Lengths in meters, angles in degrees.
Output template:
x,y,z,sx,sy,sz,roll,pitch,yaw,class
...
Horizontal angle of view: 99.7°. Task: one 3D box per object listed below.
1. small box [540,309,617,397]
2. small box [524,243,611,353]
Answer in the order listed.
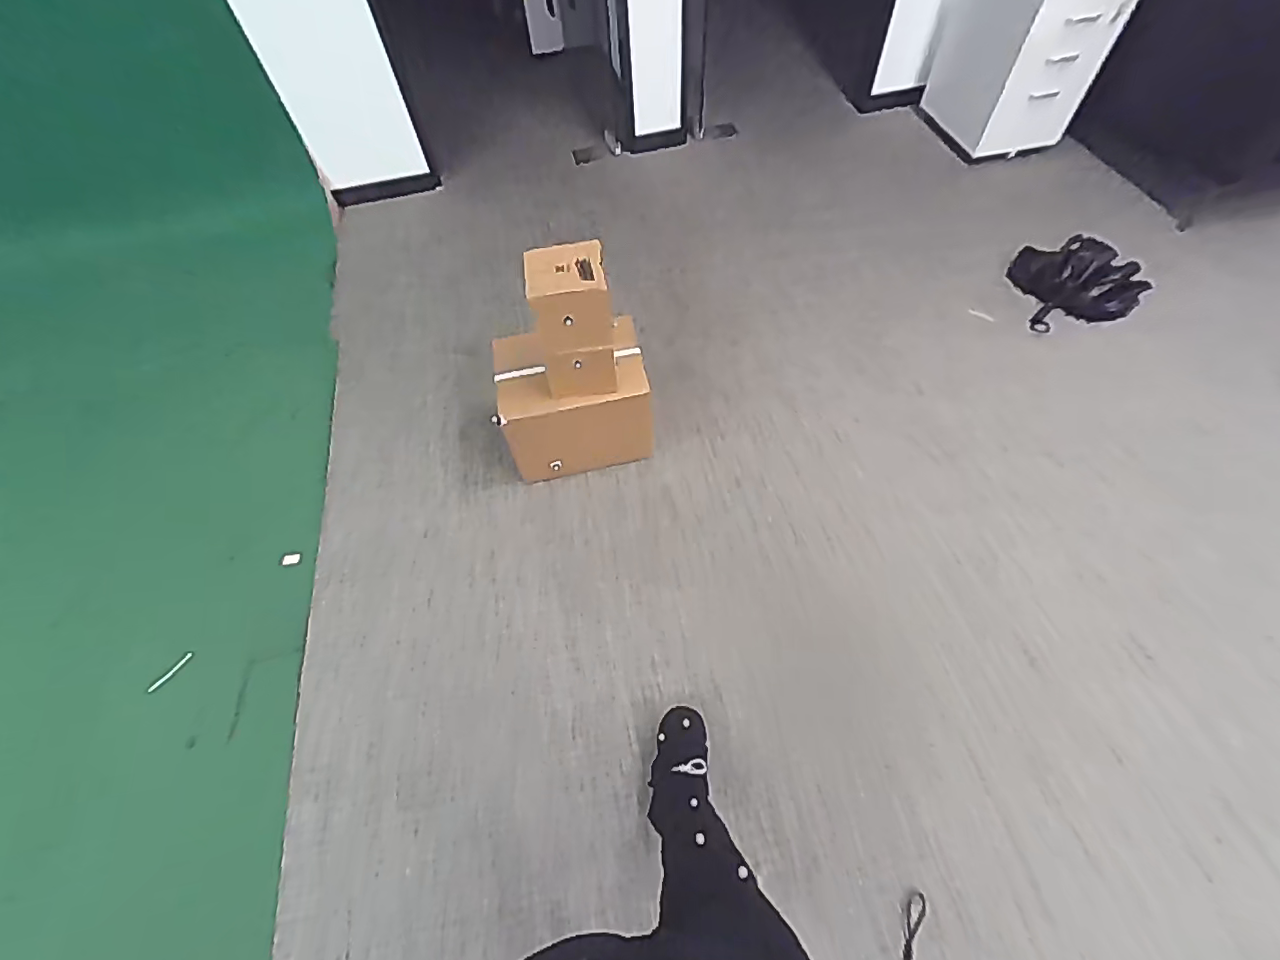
x,y,z,sx,sy,sz,roll,pitch,yaw,class
-0.157,-0.330,1.395,0.179,0.176,0.168,-6,60,-2,small box
-0.164,-0.418,1.256,0.179,0.176,0.168,-8,60,0,small box
